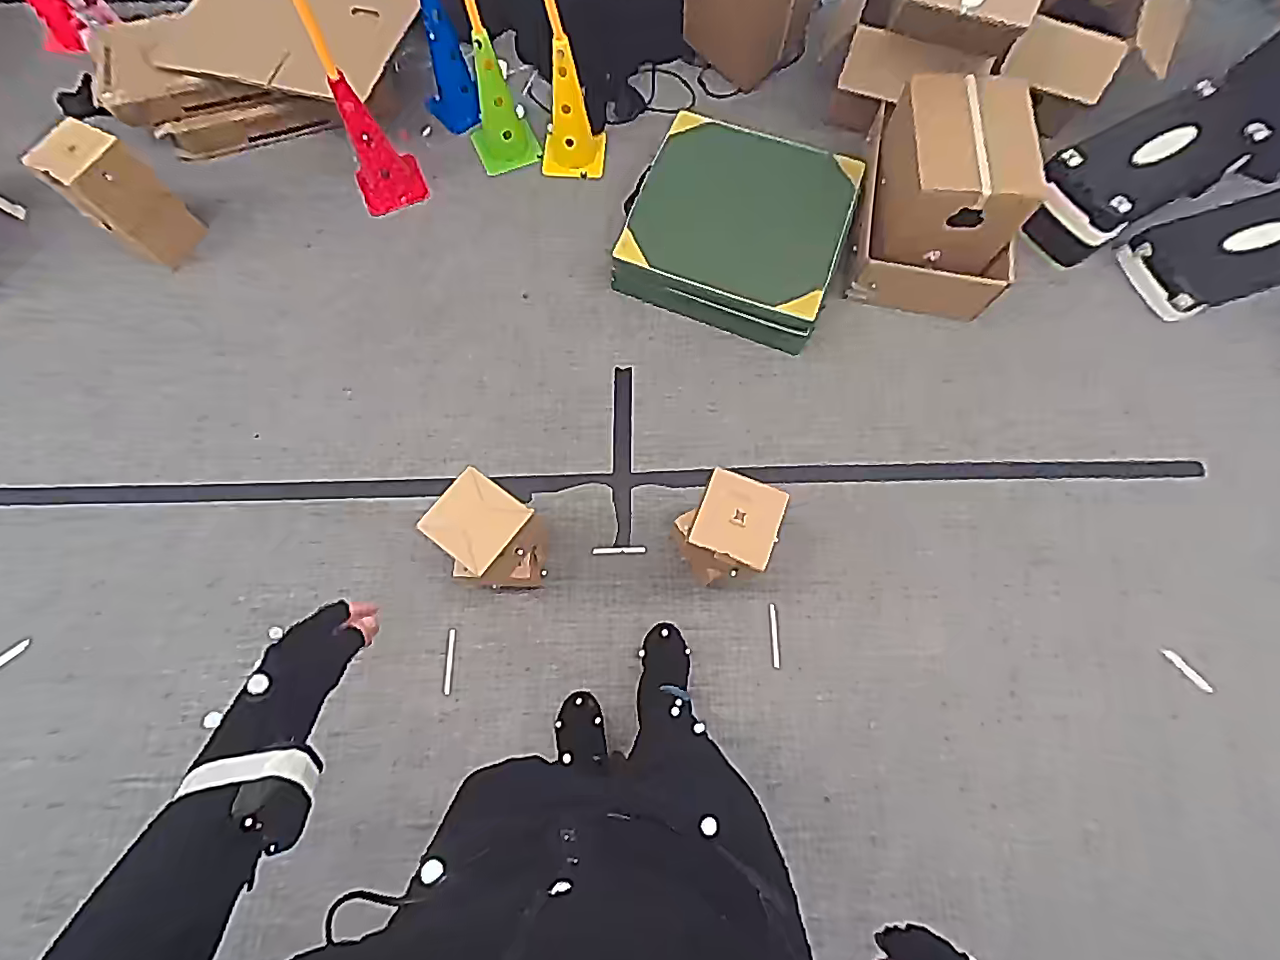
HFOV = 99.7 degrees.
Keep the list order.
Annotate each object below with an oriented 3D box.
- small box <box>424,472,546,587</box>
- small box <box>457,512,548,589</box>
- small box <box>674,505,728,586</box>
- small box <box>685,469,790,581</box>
[{"bbox_3d":[-0.331,0.110,1.172,0.179,0.176,0.168,32,74,8],"label":"small box"},{"bbox_3d":[-0.327,0.173,1.327,0.179,0.176,0.168,1,72,1],"label":"small box"},{"bbox_3d":[0.197,0.144,1.339,0.179,0.176,0.168,-32,75,-11],"label":"small box"},{"bbox_3d":[0.203,0.106,1.177,0.168,0.176,0.179,22,73,5],"label":"small box"}]
